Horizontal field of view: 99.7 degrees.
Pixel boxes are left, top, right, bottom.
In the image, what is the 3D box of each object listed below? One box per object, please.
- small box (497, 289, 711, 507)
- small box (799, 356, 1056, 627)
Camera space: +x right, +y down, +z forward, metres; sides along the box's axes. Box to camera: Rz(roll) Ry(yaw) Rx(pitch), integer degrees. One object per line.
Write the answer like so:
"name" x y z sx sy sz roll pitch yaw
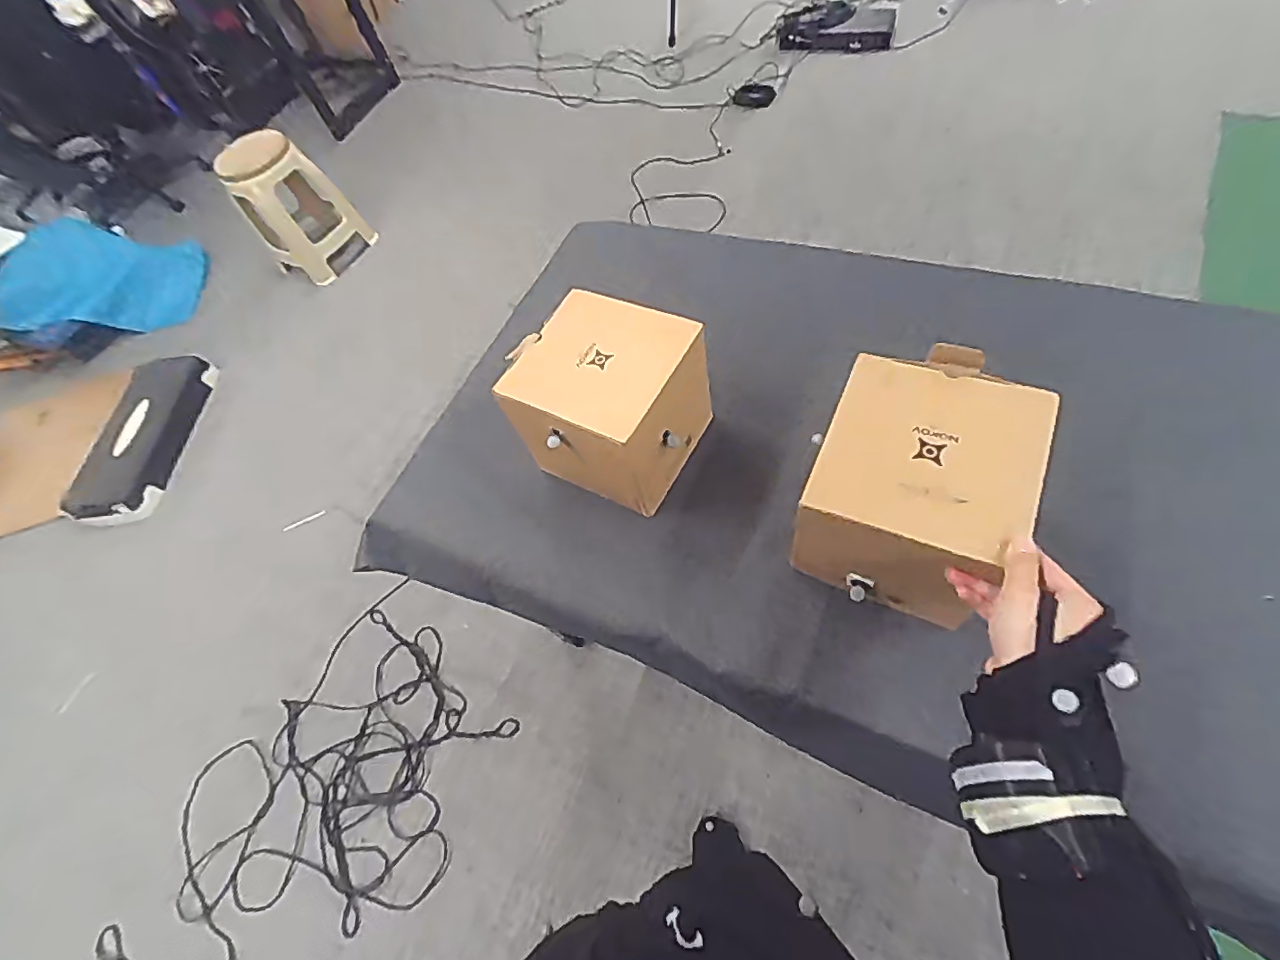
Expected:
"small box" -0.027 -0.090 0.641 0.179 0.176 0.168 23 67 23
"small box" 0.260 0.015 0.523 0.168 0.176 0.179 18 66 22
